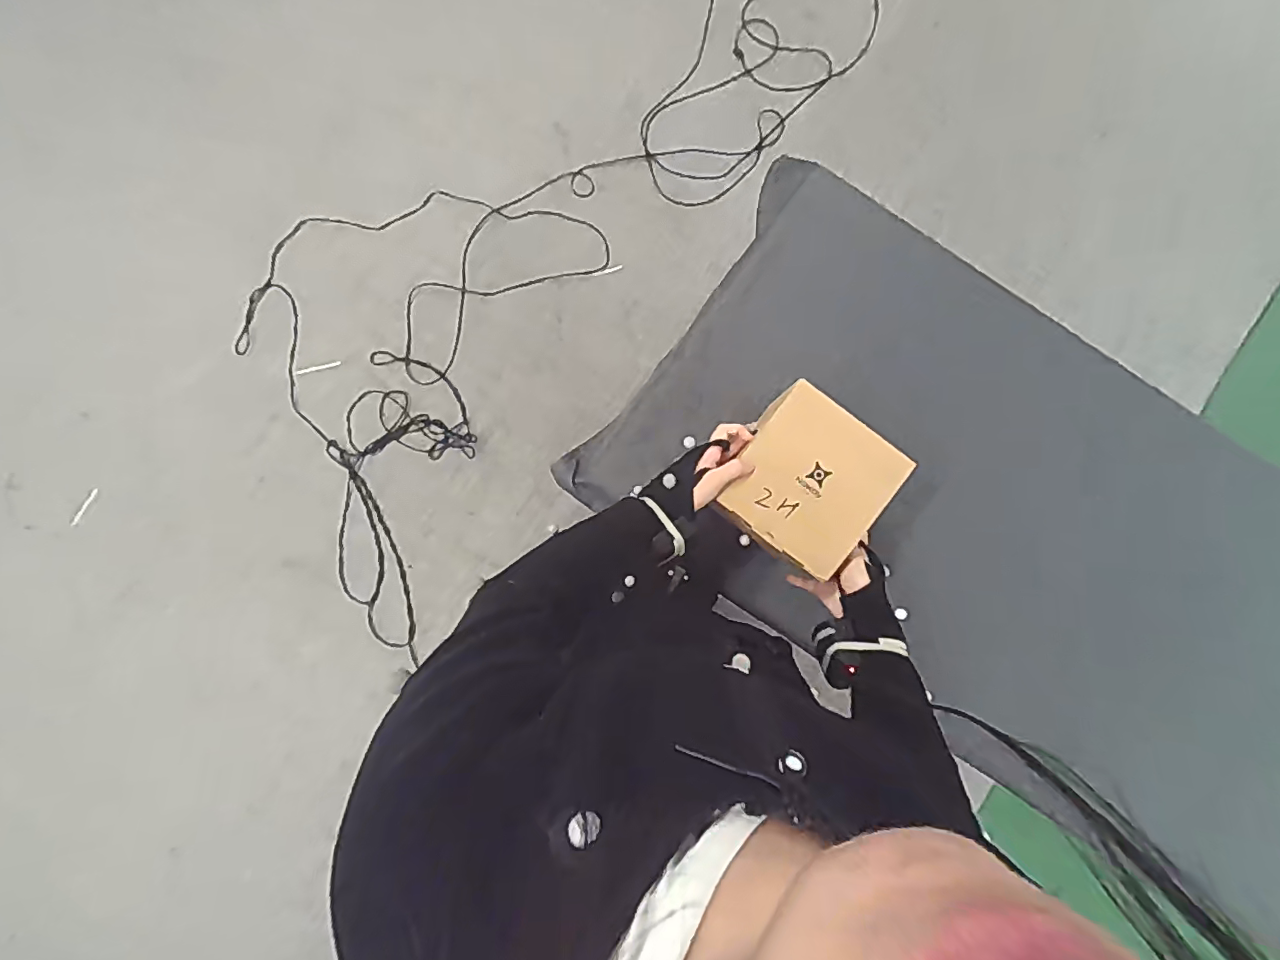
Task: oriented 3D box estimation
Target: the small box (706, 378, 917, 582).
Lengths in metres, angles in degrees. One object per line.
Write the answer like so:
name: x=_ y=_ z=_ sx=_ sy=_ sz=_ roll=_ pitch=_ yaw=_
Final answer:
small box: x=0.199 y=0.003 z=0.689 sx=0.168 sy=0.176 sz=0.179 roll=38 pitch=87 yaw=3
